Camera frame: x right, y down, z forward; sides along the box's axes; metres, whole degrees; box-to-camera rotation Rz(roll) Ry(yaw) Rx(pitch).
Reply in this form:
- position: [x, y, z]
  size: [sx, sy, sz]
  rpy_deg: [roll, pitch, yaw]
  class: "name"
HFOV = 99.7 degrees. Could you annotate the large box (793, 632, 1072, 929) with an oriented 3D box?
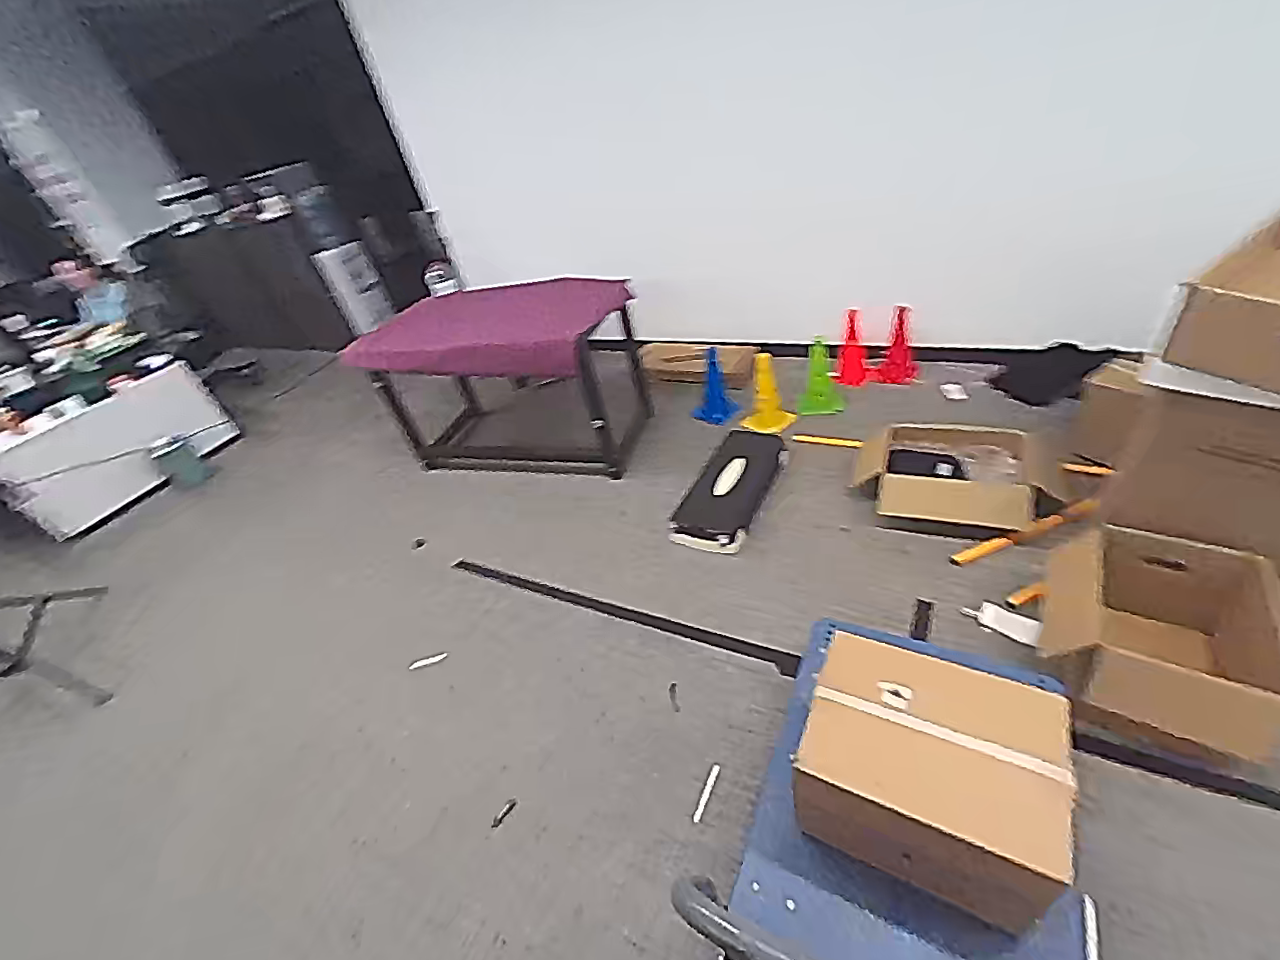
- position: [0.545, 0.558, 1.046]
  size: [0.408, 0.320, 0.320]
  rpy_deg: [10, 43, 30]
  class: "large box"
